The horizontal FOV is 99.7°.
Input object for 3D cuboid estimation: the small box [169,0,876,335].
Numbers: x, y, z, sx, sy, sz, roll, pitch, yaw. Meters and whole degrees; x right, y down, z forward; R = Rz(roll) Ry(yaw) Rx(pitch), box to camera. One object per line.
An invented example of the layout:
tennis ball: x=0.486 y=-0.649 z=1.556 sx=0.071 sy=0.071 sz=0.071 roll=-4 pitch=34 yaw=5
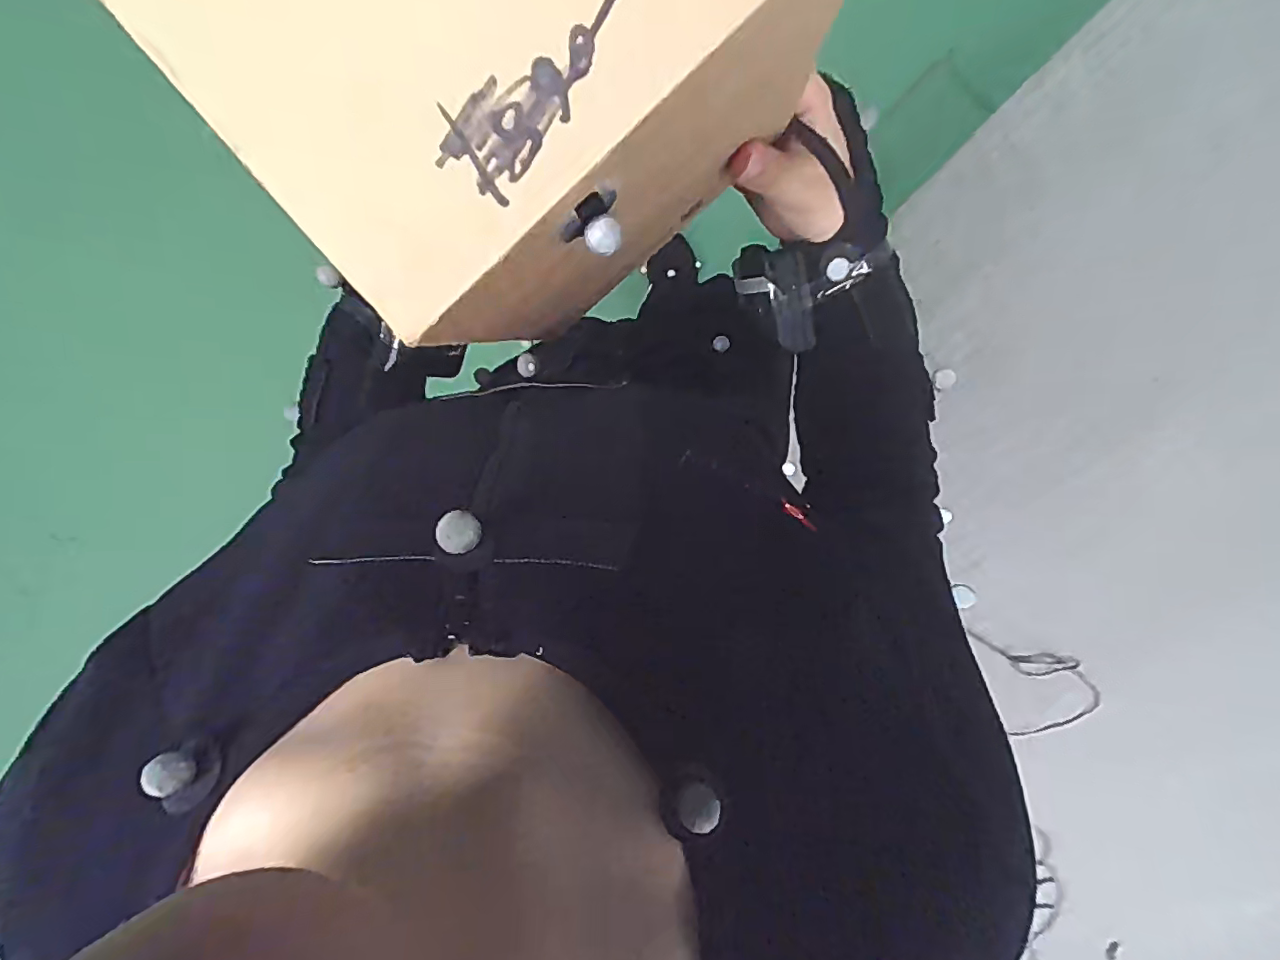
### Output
small box: x=-0.040 y=-0.175 z=0.217 sx=0.168 sy=0.176 sz=0.179 roll=-37 pitch=98 yaw=14
